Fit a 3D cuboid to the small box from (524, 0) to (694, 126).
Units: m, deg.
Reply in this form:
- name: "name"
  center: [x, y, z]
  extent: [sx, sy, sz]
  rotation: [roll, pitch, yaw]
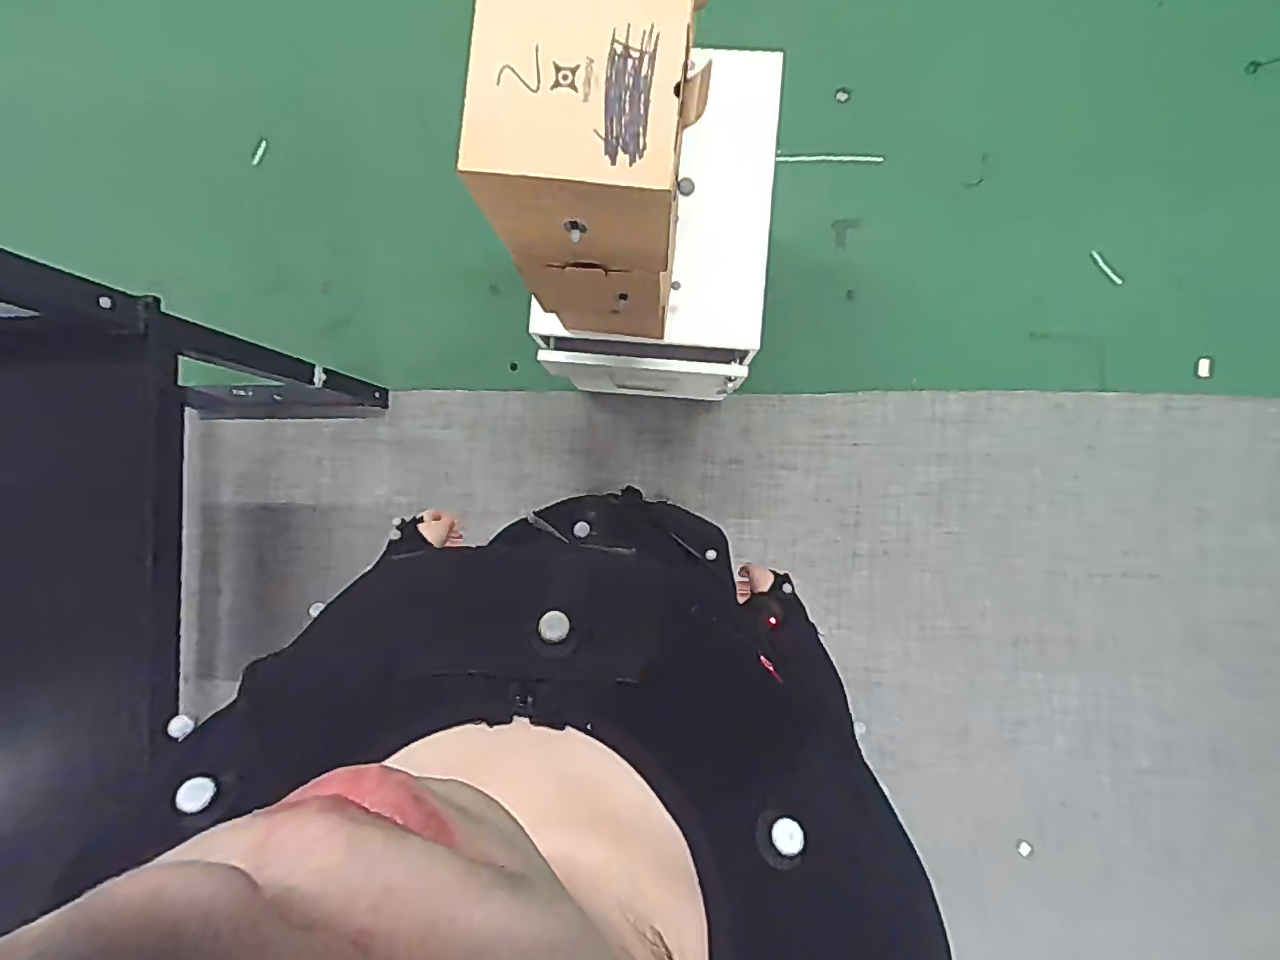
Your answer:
- name: "small box"
  center: [-0.027, -0.565, 0.664]
  extent: [0.179, 0.176, 0.168]
  rotation: [8, 90, 1]

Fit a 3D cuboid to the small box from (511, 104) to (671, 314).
- name: "small box"
  center: [-0.051, -0.315, 0.663]
  extent: [0.168, 0.176, 0.179]
  rotation: [4, 89, 1]

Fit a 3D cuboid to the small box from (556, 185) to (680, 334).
- name: "small box"
  center: [-0.039, -0.332, 0.824]
  extent: [0.179, 0.176, 0.168]
  rotation: [7, 89, 1]
